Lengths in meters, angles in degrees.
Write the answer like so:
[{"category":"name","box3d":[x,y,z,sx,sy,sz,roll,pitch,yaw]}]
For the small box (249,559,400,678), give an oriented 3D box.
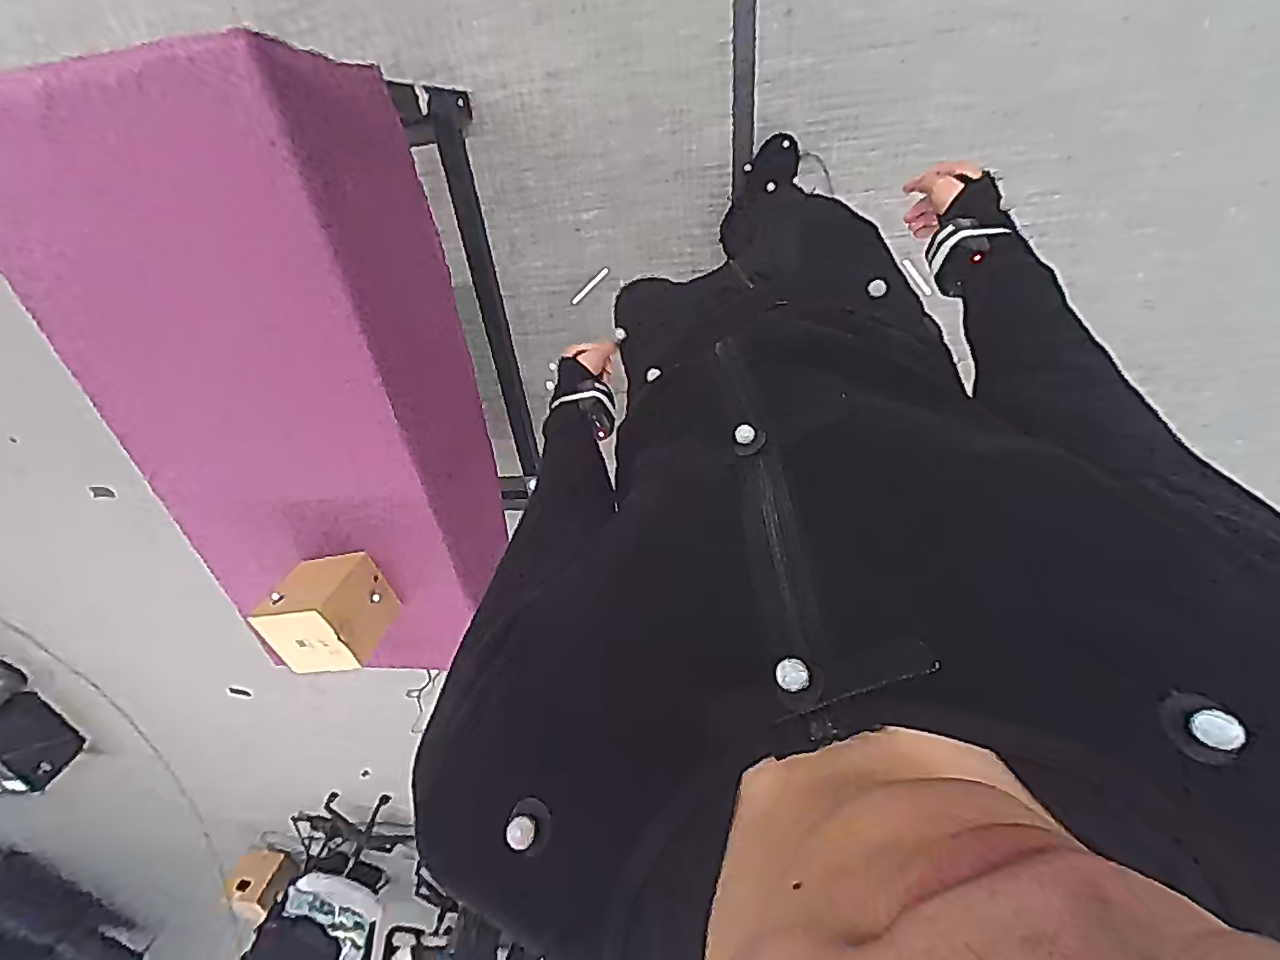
[{"category":"small box","box3d":[-0.643,0.286,1.125,0.179,0.176,0.168,-10,121,14]}]
